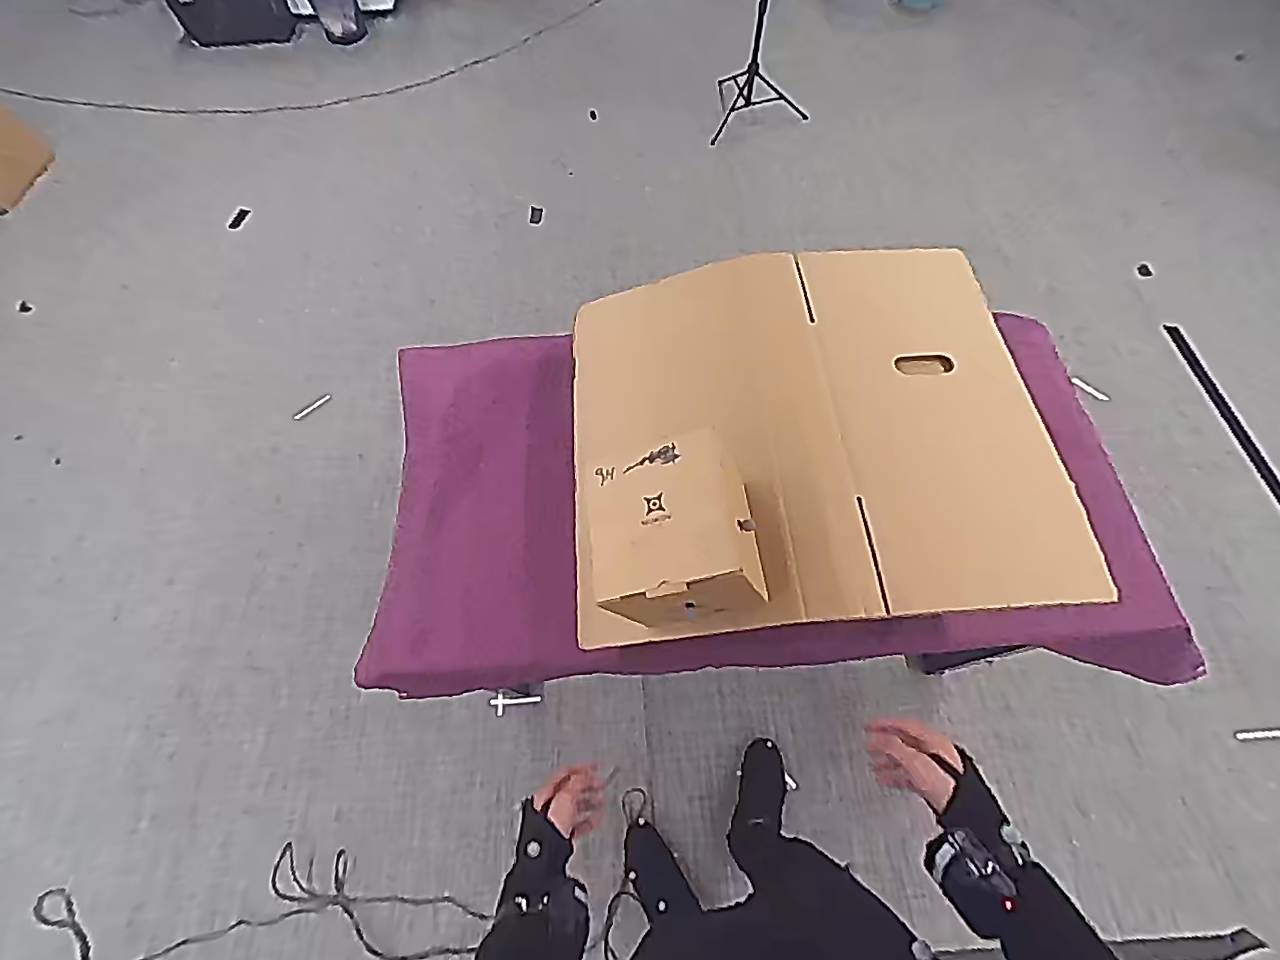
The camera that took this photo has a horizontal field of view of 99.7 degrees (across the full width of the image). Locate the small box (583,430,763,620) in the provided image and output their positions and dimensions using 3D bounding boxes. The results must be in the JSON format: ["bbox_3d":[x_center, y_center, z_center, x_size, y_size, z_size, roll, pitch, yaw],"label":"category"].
[{"bbox_3d":[0.045,0.069,0.665,0.168,0.176,0.179,-16,63,16],"label":"small box"}]
